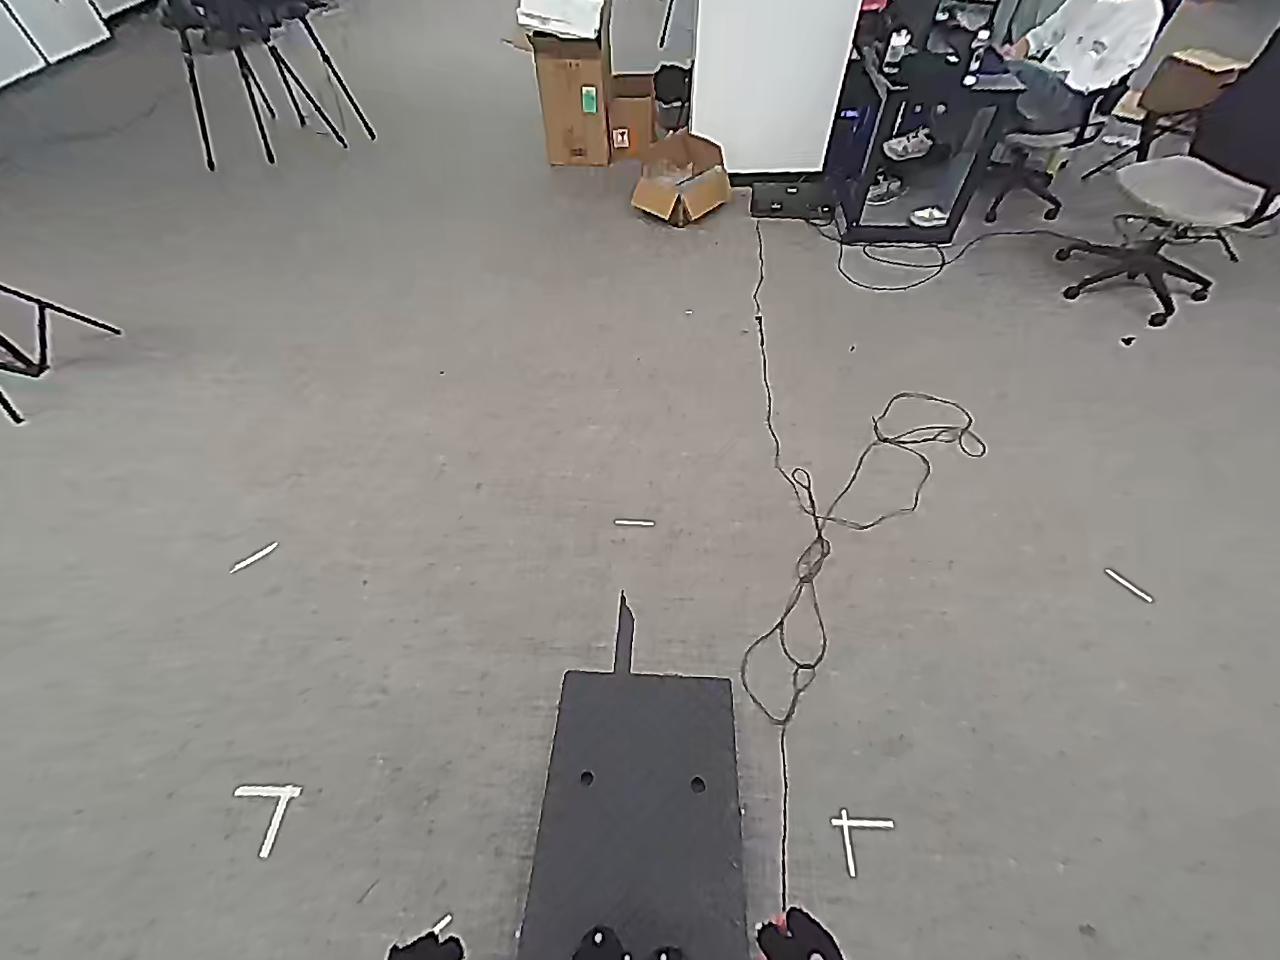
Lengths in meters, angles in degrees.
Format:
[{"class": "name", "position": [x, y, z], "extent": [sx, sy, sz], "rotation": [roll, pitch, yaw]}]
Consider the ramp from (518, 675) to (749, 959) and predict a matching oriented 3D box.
[{"class": "ramp", "position": [-0.008, 0.923, 1.228], "extent": [0.509, 0.206, 0.991], "rotation": [0, 52, 3]}]
